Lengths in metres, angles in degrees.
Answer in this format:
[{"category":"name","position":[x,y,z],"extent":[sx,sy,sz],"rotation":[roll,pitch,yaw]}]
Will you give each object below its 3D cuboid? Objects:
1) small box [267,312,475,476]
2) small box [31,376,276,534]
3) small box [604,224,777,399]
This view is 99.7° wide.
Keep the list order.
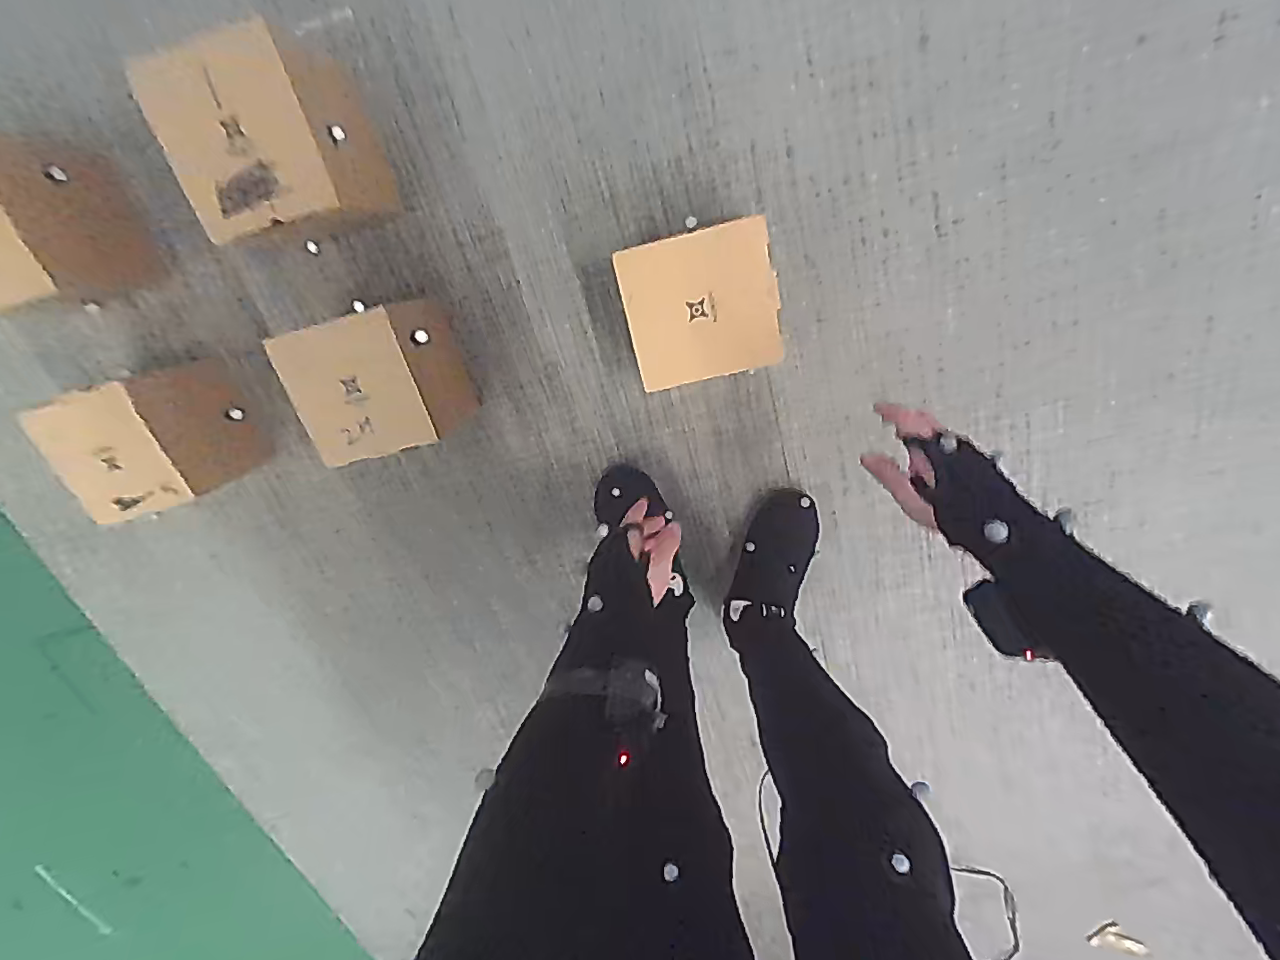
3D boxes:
[{"category":"small box","position":[-0.357,-0.129,0.756],"extent":[0.168,0.176,0.179],"rotation":[-13,112,8]},{"category":"small box","position":[-0.702,-0.048,0.806],"extent":[0.168,0.176,0.179],"rotation":[-14,110,9]},{"category":"small box","position":[0.065,-0.219,0.700],"extent":[0.179,0.176,0.168],"rotation":[-13,112,7]}]
